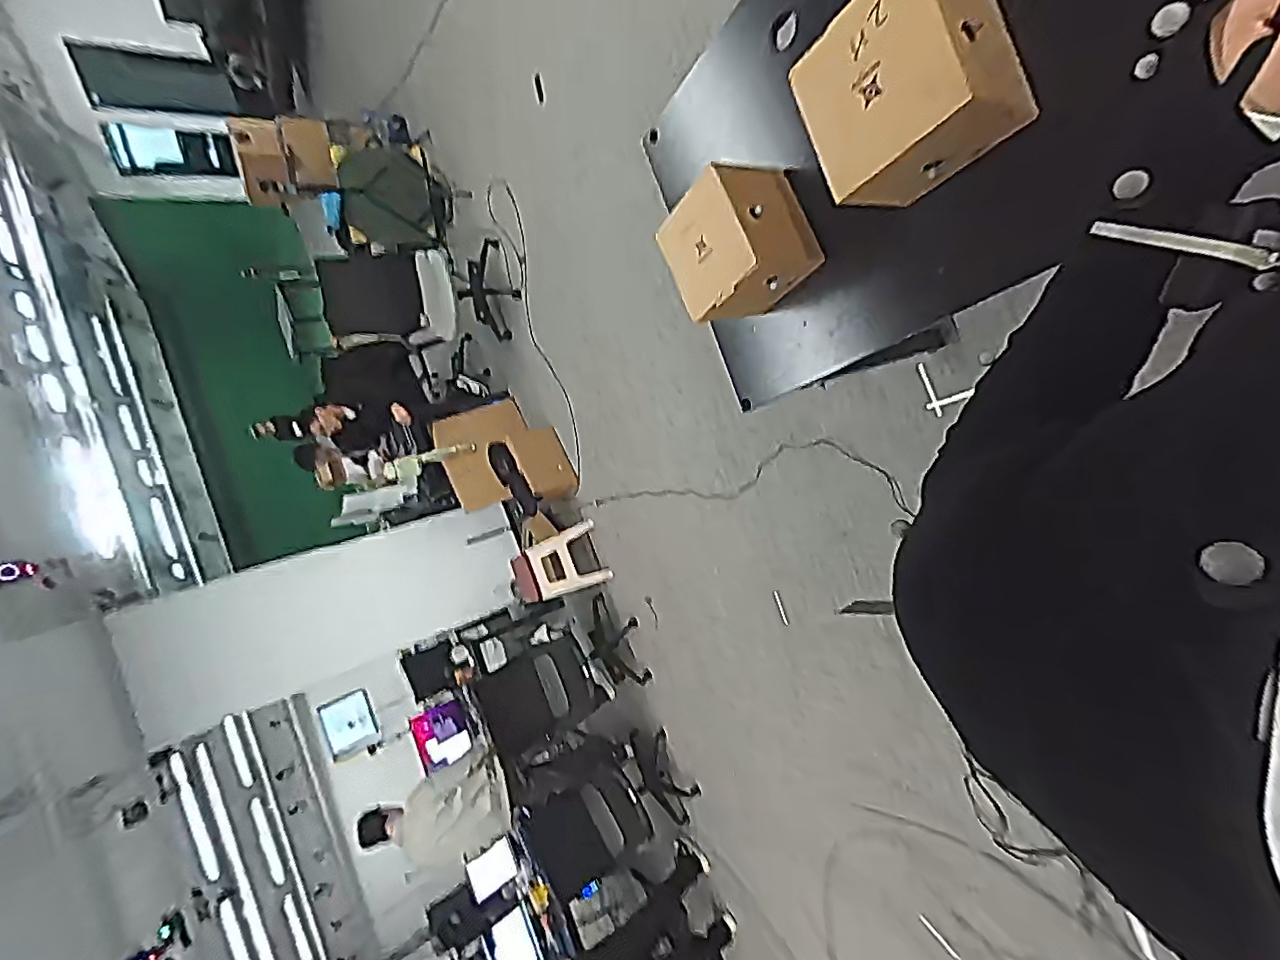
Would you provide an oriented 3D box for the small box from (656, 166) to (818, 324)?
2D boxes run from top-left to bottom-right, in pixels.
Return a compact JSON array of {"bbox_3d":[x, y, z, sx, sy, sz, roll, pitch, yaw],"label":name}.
[{"bbox_3d":[0.161,-0.385,0.895,0.168,0.176,0.179,-32,78,55],"label":"small box"}]

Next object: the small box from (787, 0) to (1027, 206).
[{"bbox_3d":[0.313,-0.453,0.636,0.168,0.176,0.179,-22,87,56],"label":"small box"}]
